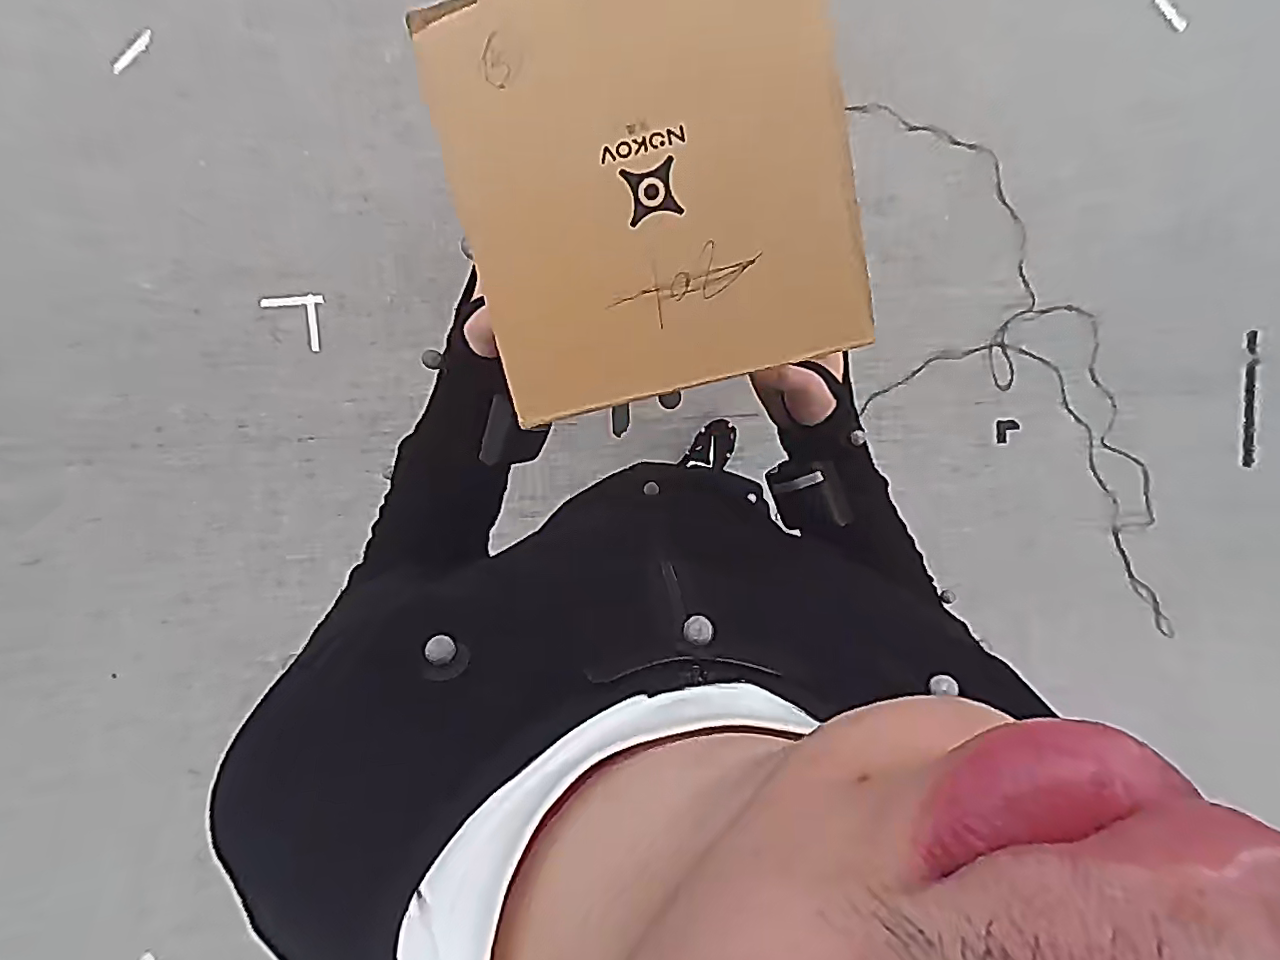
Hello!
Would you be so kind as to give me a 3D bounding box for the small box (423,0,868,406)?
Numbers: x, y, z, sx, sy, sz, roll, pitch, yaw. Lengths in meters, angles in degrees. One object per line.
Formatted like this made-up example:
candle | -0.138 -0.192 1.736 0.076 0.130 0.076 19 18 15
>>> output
small box | 0.009 -0.151 0.315 0.168 0.176 0.179 -14 102 7
